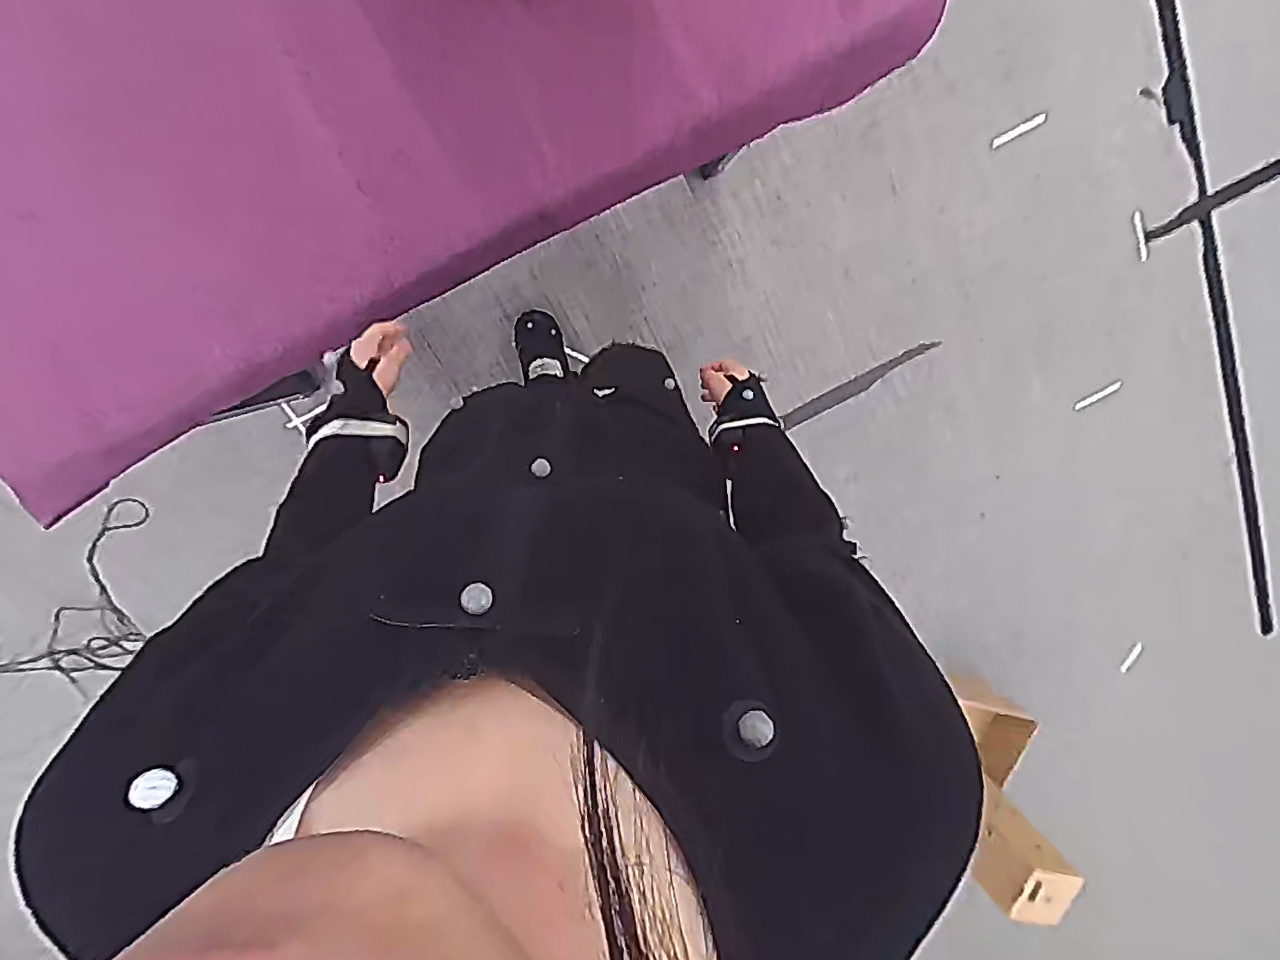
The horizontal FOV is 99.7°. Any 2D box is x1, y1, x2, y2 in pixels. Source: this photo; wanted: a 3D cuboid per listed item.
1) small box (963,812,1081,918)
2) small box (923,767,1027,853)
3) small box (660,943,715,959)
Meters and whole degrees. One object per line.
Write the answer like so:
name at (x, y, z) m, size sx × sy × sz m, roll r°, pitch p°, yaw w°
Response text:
small box at (1.041, 1.054, 1.491) m, size 0.179 × 0.176 × 0.168 m, roll 17°, pitch 102°, yaw -14°
small box at (1.013, 1.010, 1.647) m, size 0.179 × 0.176 × 0.168 m, roll 18°, pitch 101°, yaw -12°
small box at (0.134, 1.487, 1.555) m, size 0.168 × 0.176 × 0.179 m, roll 21°, pitch 102°, yaw -13°
